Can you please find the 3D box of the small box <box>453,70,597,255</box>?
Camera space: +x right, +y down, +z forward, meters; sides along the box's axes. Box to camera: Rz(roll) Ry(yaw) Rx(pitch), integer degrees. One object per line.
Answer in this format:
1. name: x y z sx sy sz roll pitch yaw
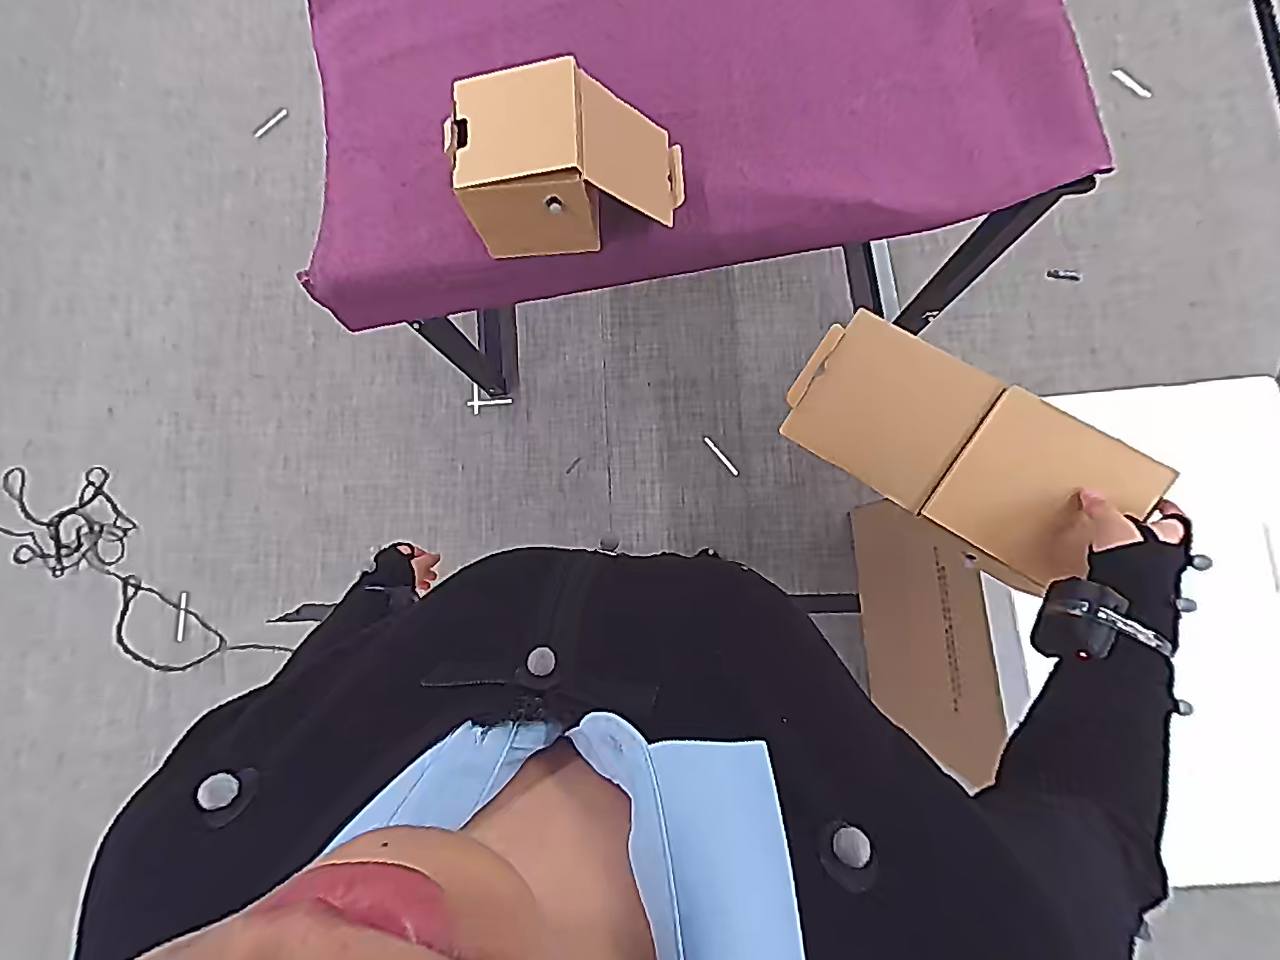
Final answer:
1. small box: -0.158 -0.456 0.799 0.179 0.176 0.168 -3 81 4
